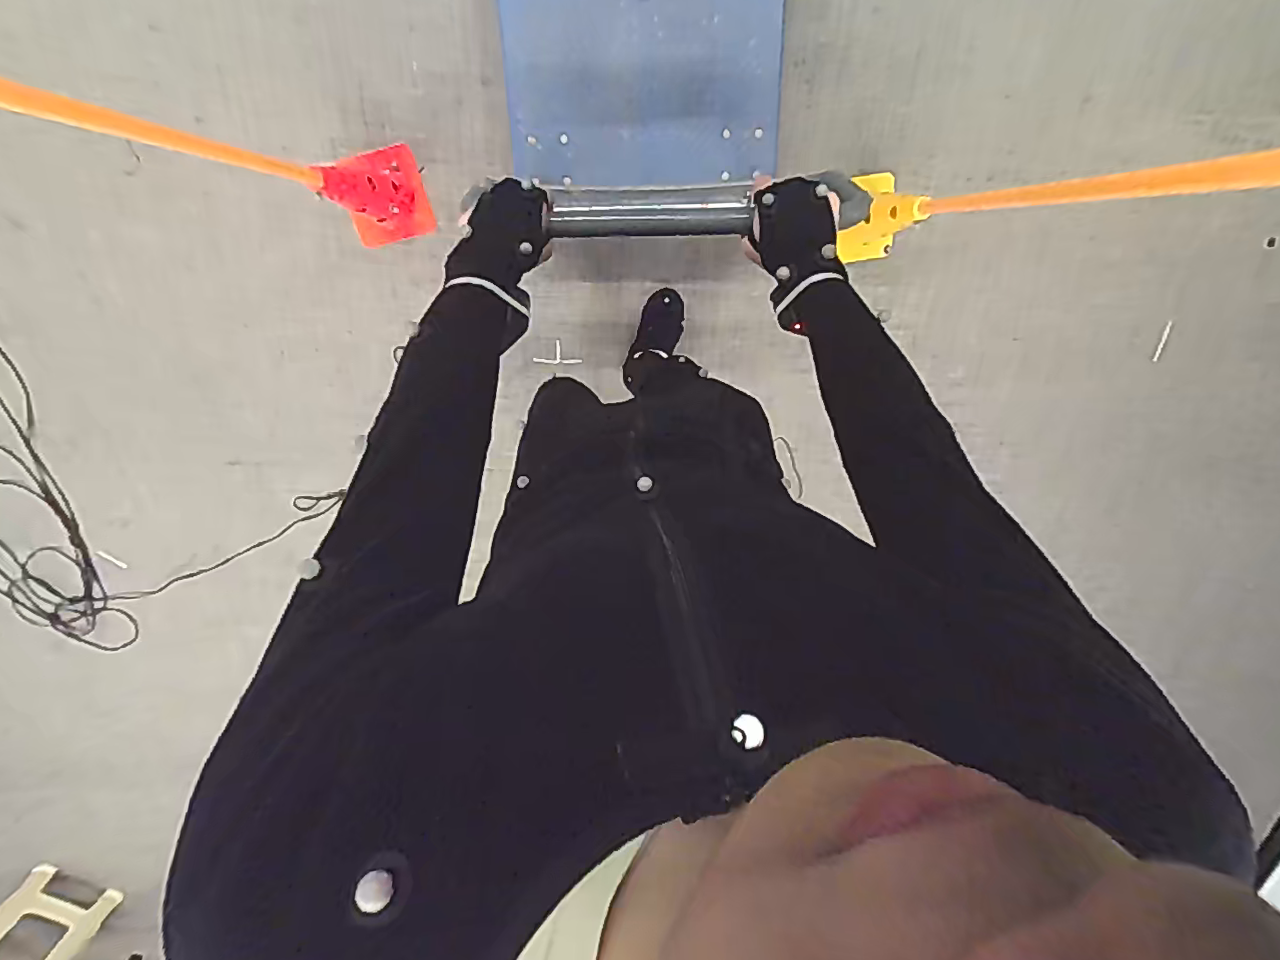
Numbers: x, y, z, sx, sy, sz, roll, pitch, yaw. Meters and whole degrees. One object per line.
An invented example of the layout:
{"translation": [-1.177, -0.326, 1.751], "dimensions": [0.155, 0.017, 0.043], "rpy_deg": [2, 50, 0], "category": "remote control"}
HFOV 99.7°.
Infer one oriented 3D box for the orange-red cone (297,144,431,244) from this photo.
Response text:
{"translation": [-0.626, -0.634, 1.167], "dimensions": [0.199, 0.360, 0.198], "rpy_deg": [-12, 112, 4], "category": "orange-red cone"}
